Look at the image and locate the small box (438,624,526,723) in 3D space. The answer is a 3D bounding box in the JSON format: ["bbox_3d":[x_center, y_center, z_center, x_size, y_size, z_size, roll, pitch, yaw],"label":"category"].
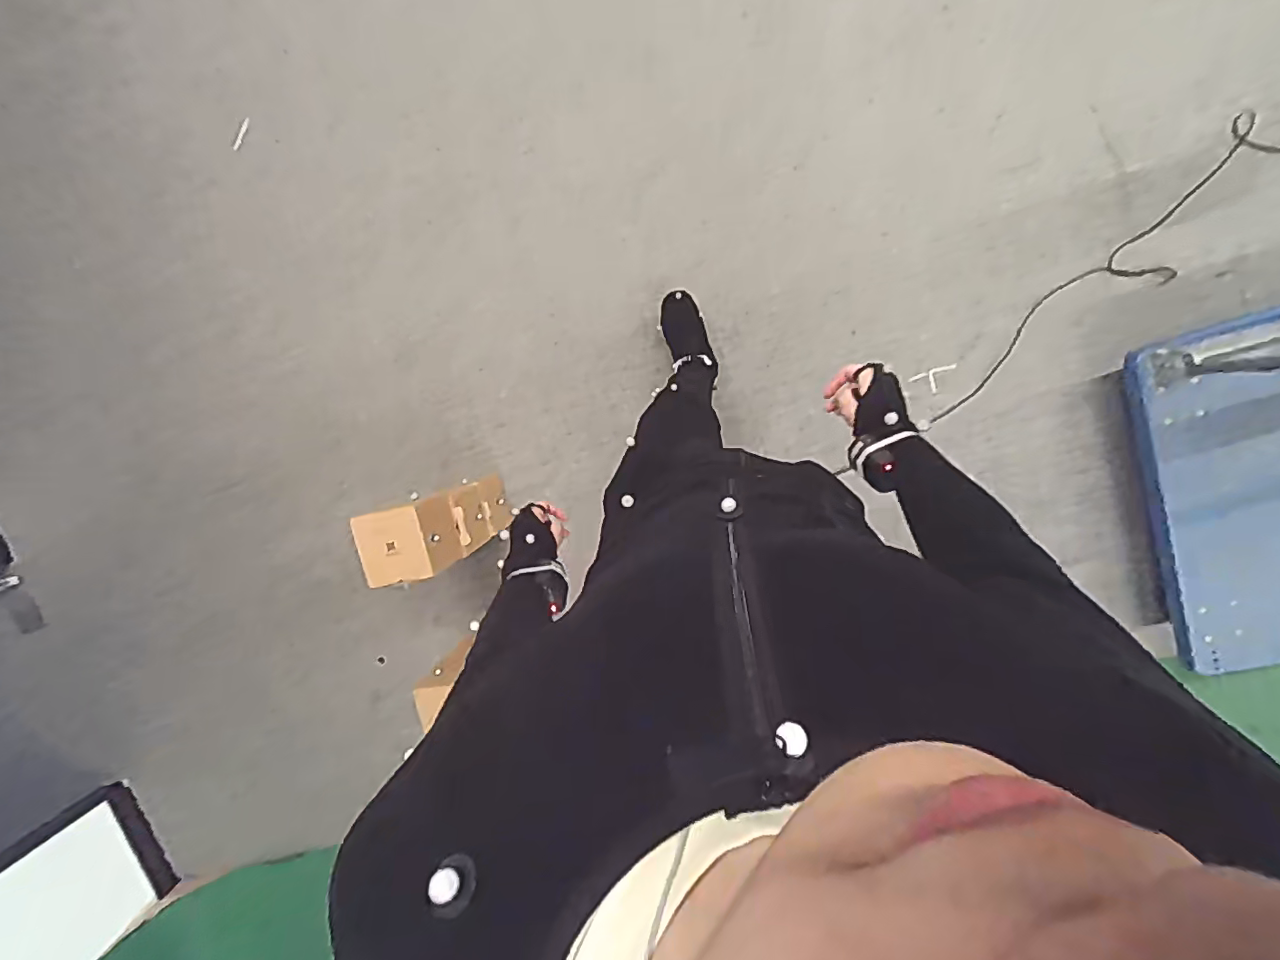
[{"bbox_3d":[-0.440,0.541,1.531,0.168,0.176,0.179,20,101,1],"label":"small box"}]

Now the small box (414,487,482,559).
[{"bbox_3d":[-0.554,0.122,1.465,0.179,0.176,0.168,-10,99,8],"label":"small box"}]

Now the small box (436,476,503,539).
[{"bbox_3d":[-0.527,0.093,1.625,0.179,0.176,0.168,-14,97,8],"label":"small box"}]

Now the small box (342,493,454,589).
[{"bbox_3d":[-0.573,0.141,1.304,0.168,0.176,0.179,-10,98,7],"label":"small box"}]
